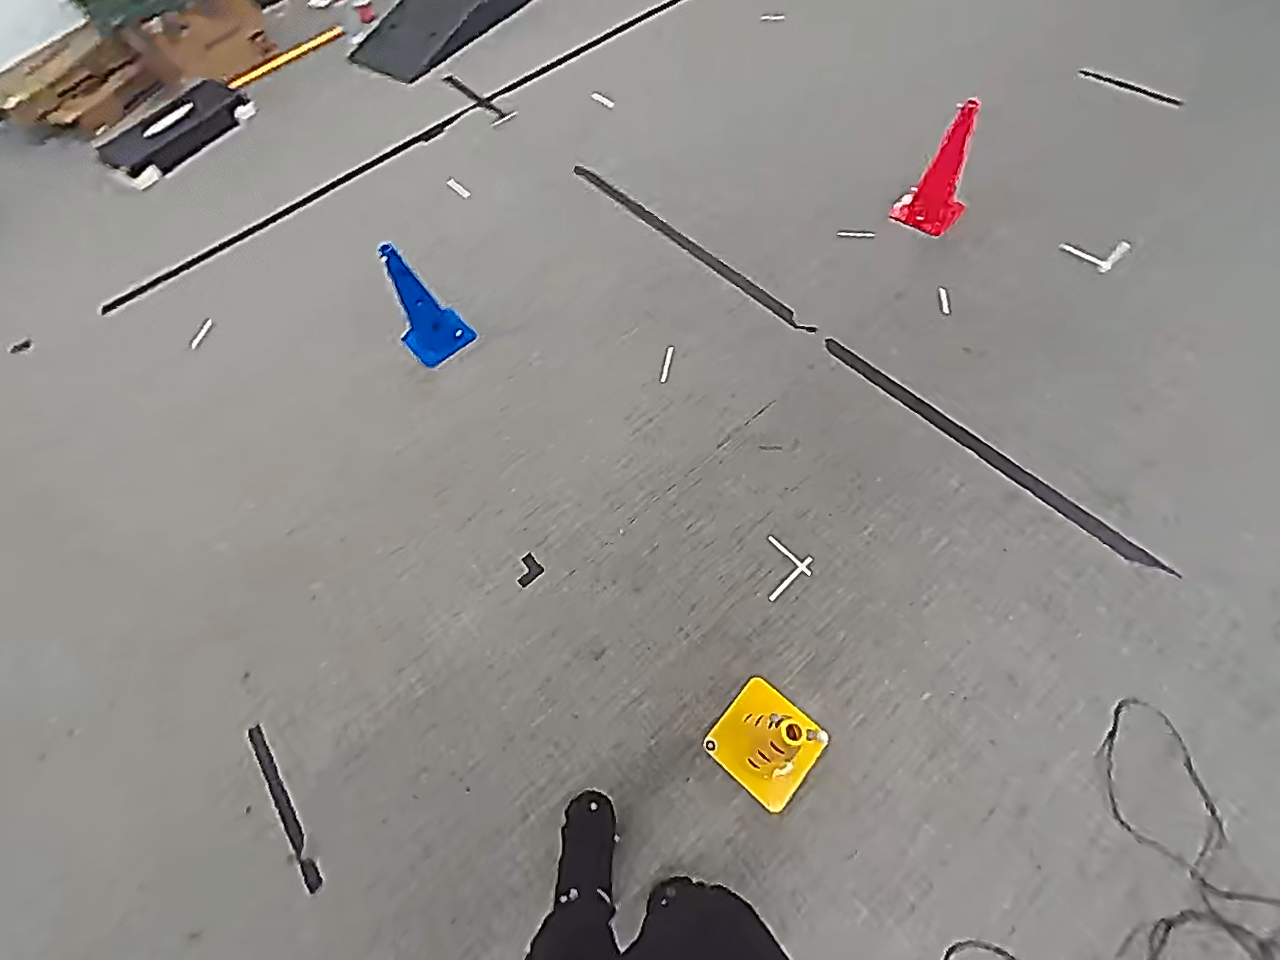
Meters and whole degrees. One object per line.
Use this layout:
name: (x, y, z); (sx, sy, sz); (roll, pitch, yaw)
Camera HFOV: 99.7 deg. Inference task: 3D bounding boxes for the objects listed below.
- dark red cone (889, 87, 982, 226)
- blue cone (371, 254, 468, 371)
dark red cone: (0.984, -1.042, 1.734); (0.202, 0.394, 0.201); (36, 72, 22)
blue cone: (-0.702, -0.538, 1.664); (0.192, 0.380, 0.193); (-39, 65, -14)
